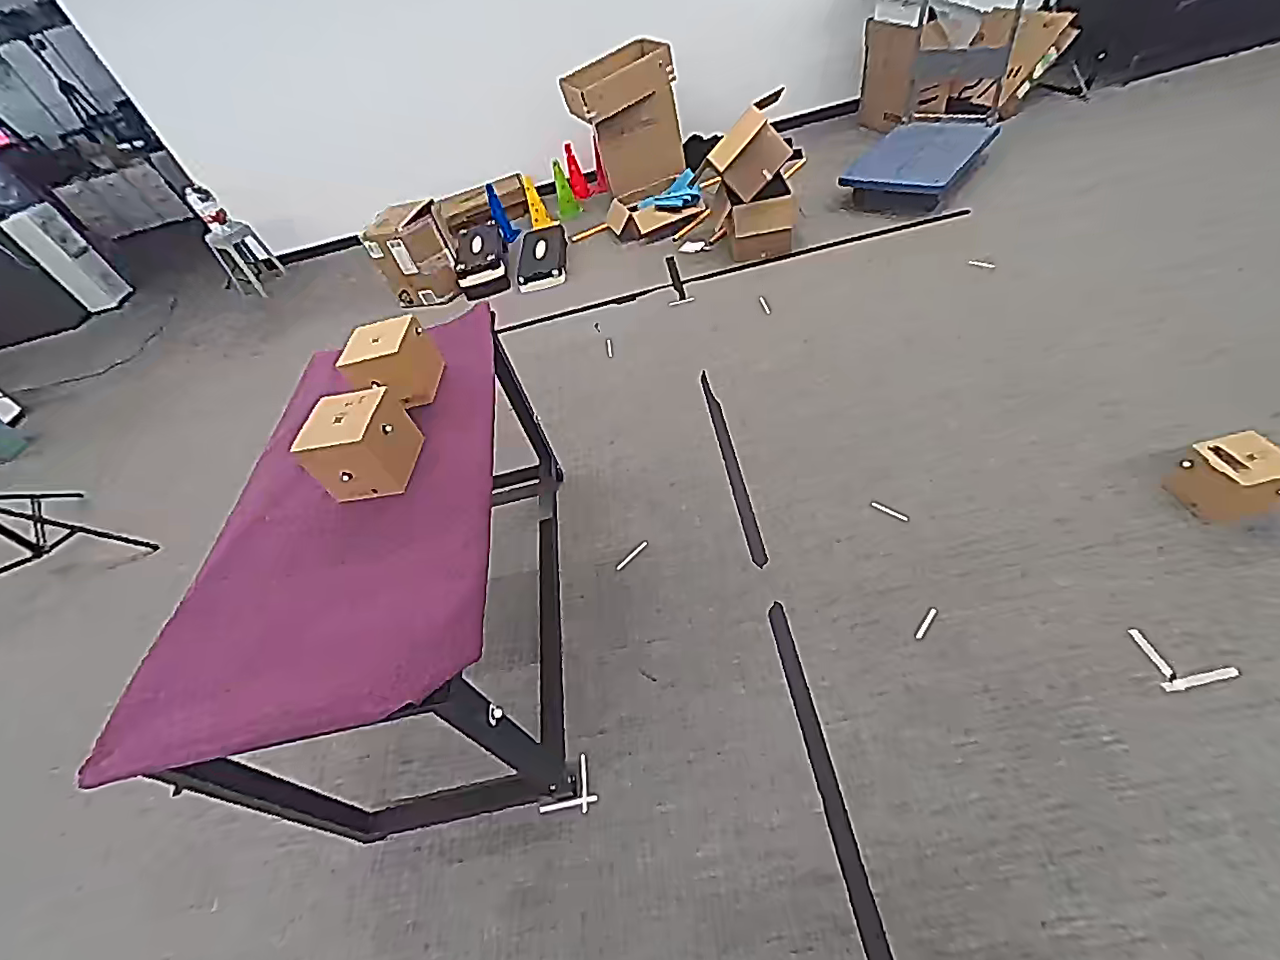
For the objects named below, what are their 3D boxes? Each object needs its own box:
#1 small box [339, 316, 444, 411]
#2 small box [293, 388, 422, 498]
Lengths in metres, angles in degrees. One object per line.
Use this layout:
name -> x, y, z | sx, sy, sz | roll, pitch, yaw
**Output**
small box -> -0.635, -0.291, 1.406 | 0.168, 0.176, 0.179 | -12, 46, 7
small box -> -0.612, -0.074, 1.201 | 0.168, 0.176, 0.179 | -7, 47, 9
